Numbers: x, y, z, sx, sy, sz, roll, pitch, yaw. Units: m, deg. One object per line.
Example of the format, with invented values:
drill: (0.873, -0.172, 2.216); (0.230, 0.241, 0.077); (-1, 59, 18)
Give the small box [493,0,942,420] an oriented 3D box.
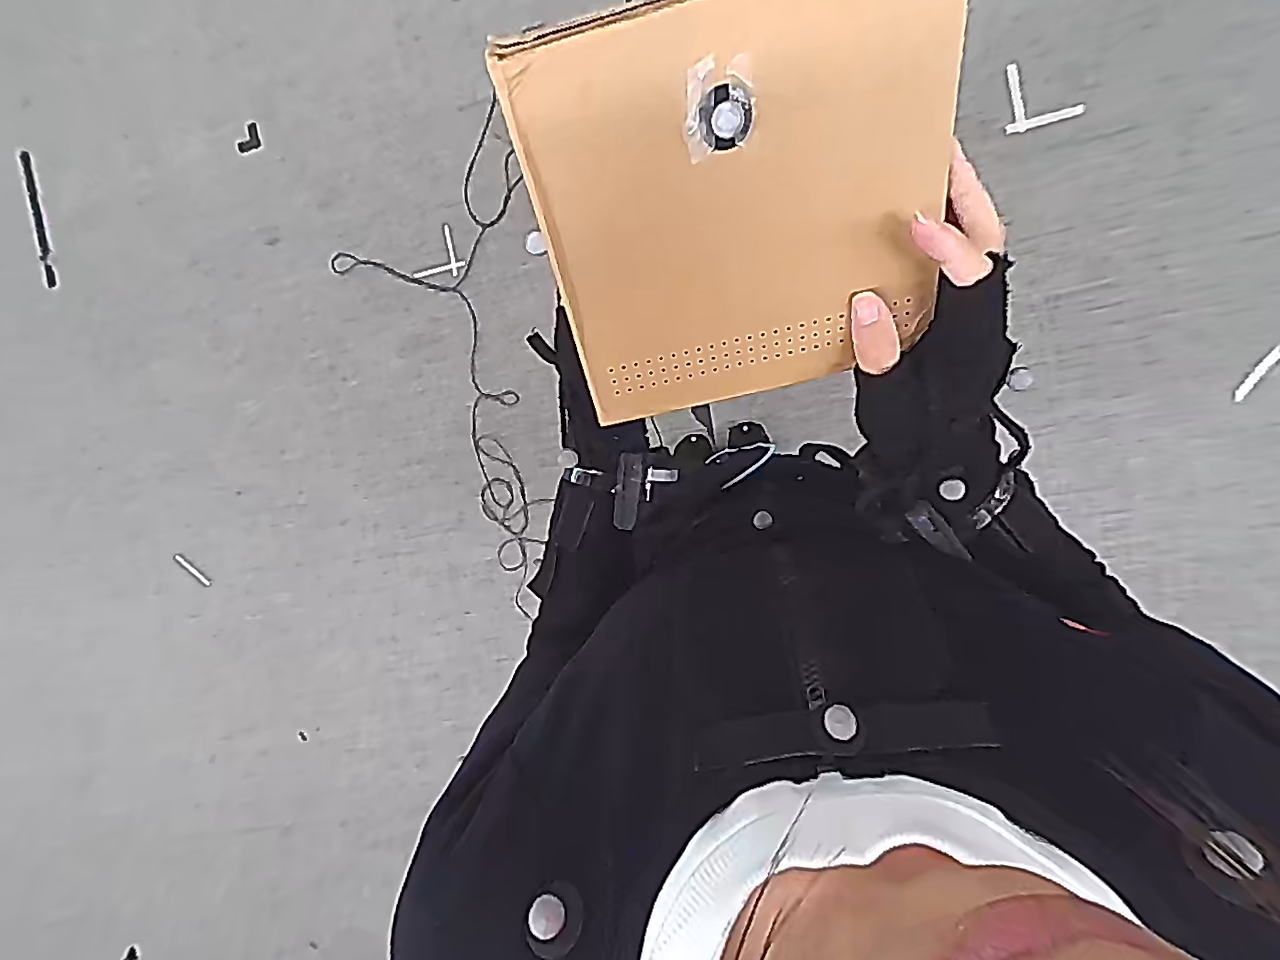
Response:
small box: (0.043, -0.153, 0.304); (0.179, 0.168, 0.176); (-12, 127, 5)
